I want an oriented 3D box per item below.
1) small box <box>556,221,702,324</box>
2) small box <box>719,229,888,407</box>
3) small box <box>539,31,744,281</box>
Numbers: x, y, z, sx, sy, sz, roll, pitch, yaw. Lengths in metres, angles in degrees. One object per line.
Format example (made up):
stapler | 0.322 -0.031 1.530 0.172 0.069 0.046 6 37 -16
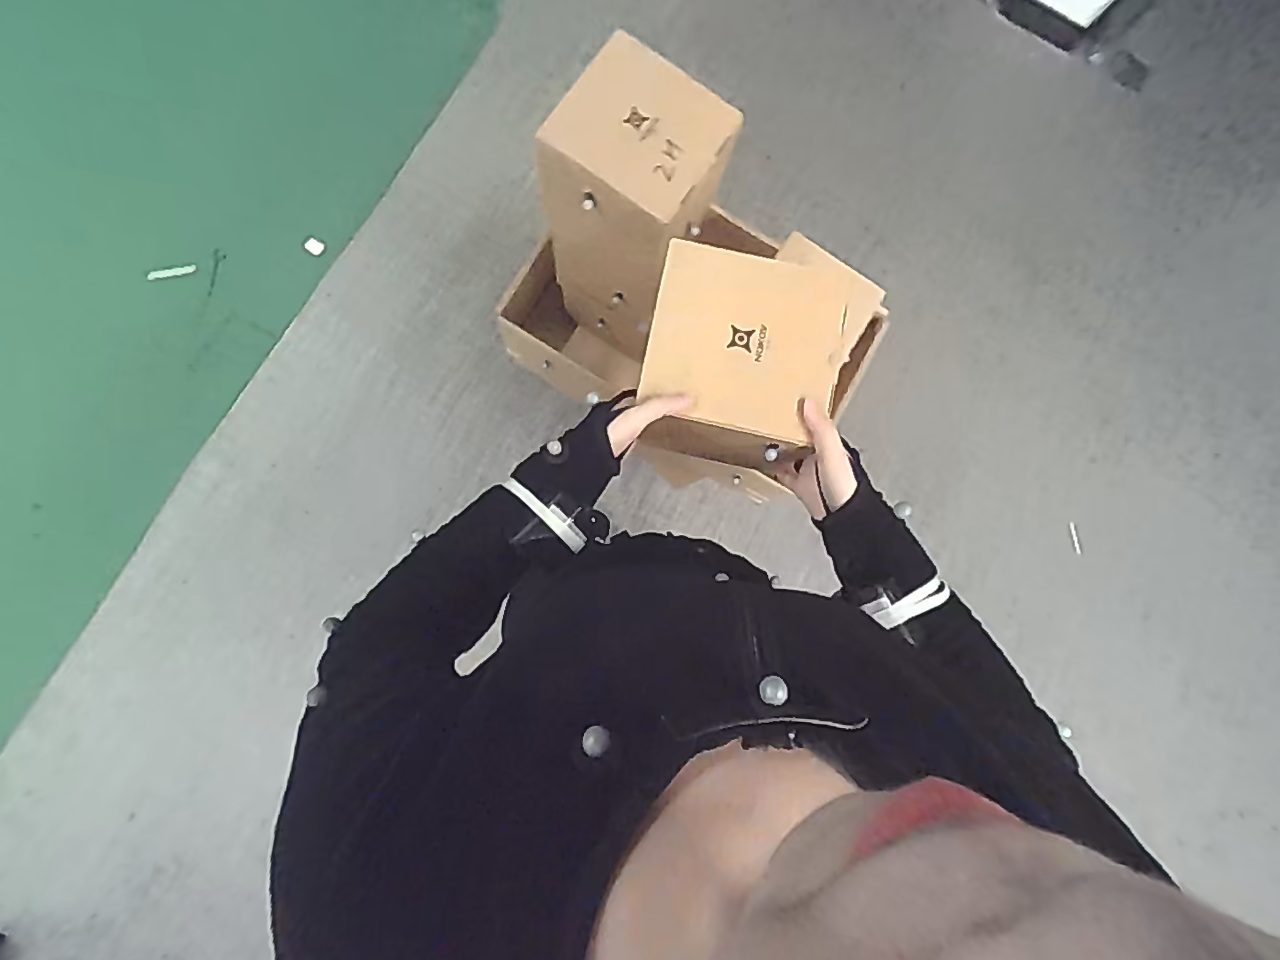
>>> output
small box | -0.011 -0.376 0.845 0.168 0.176 0.179 32 82 -1
small box | 0.241 -0.240 0.849 0.168 0.176 0.179 34 82 0
small box | -0.003 -0.387 0.681 0.179 0.176 0.168 35 83 -1
